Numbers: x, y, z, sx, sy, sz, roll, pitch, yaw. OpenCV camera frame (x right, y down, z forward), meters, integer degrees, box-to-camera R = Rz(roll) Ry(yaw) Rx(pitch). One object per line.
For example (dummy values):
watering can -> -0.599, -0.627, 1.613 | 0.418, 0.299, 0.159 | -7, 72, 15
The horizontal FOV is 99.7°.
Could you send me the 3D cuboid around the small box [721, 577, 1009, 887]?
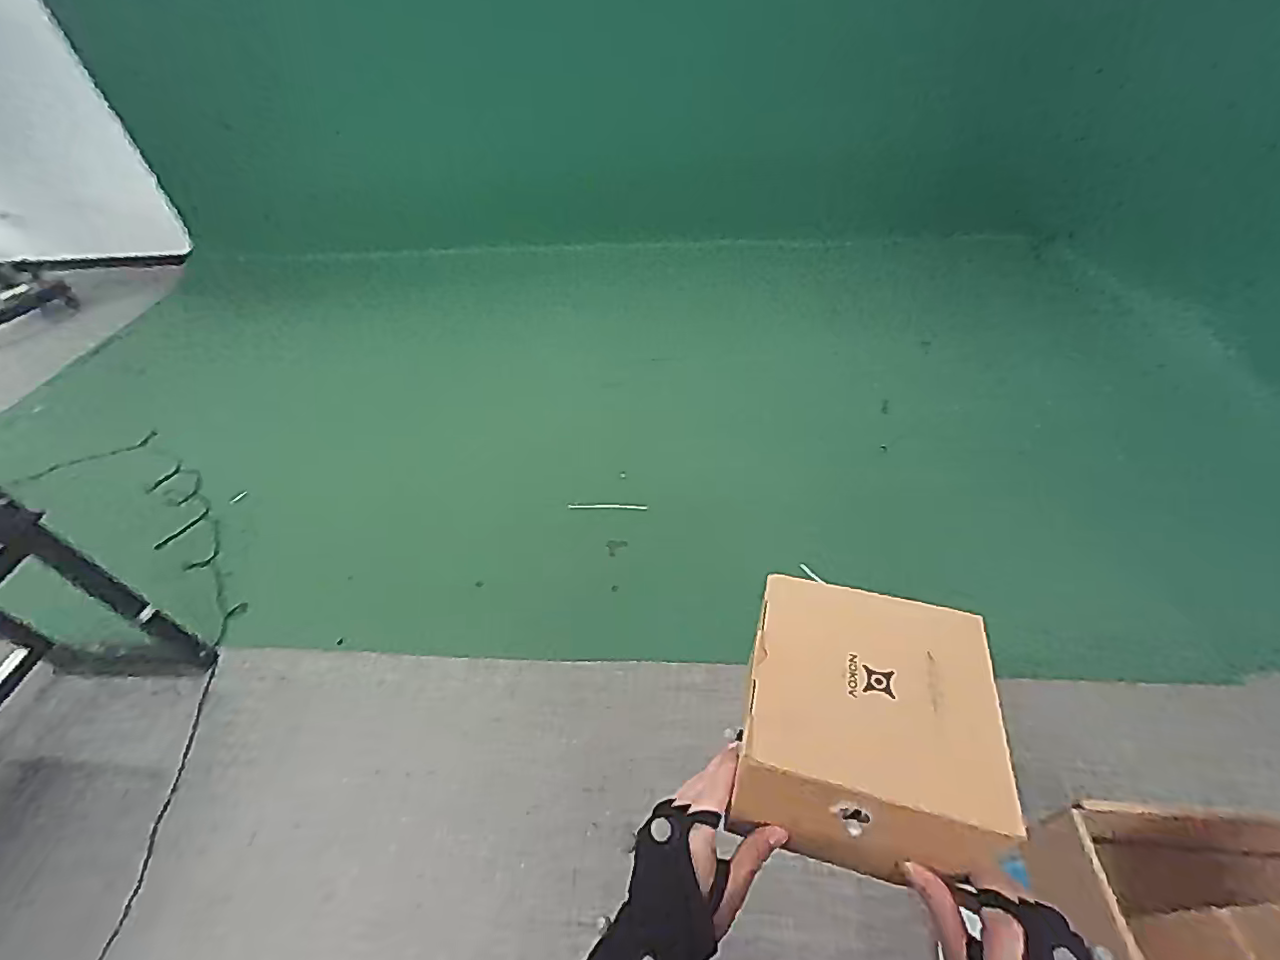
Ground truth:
small box -> 0.169, 0.212, 0.460 | 0.179, 0.176, 0.168 | 10, 44, 13
